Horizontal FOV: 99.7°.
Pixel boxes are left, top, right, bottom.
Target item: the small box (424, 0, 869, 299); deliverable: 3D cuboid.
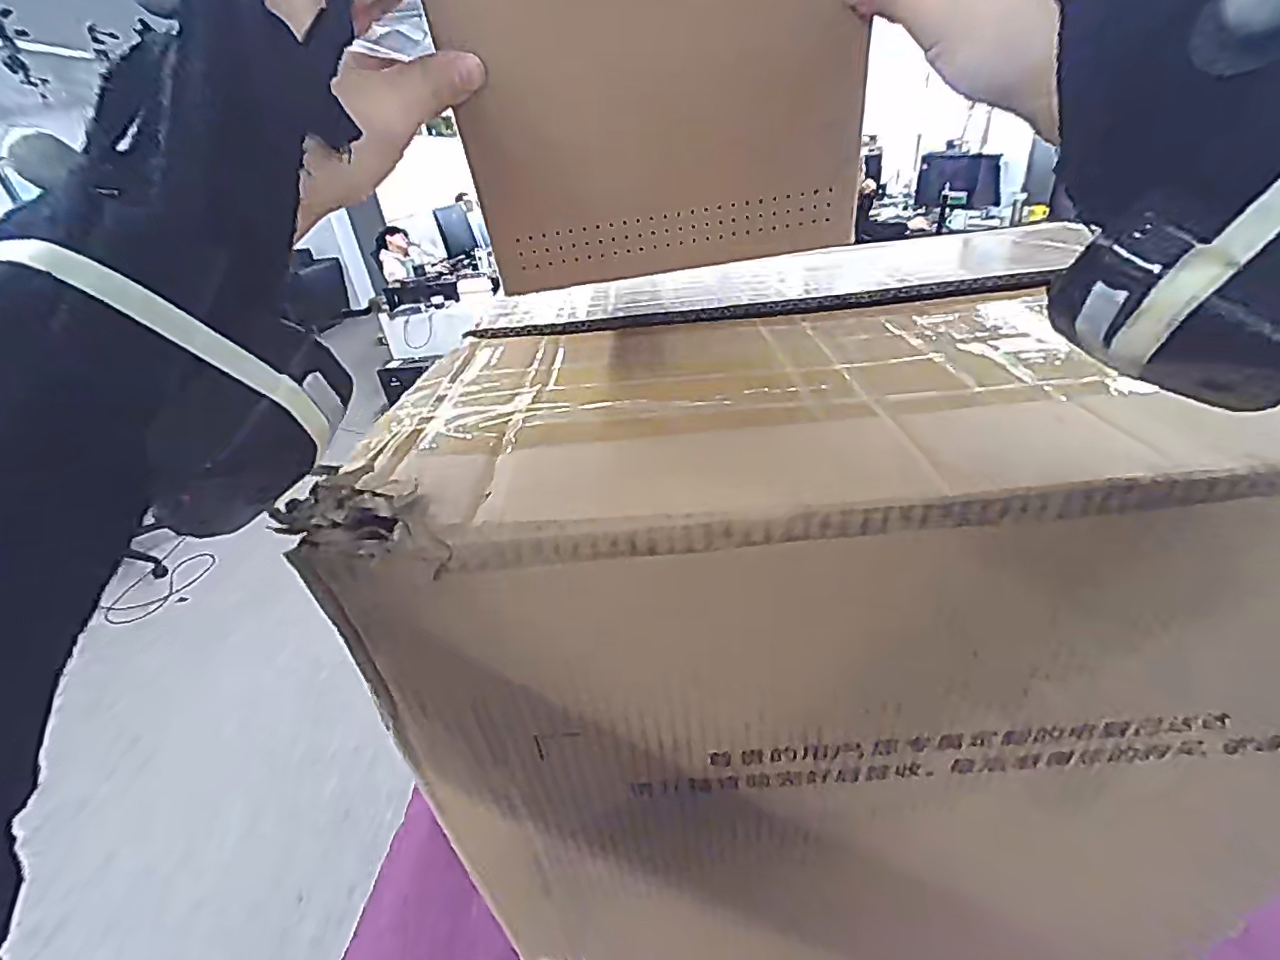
[{"bbox_3d":[0.005,-0.212,0.282,0.179,0.176,0.168,-8,37,2],"label":"small box"}]
